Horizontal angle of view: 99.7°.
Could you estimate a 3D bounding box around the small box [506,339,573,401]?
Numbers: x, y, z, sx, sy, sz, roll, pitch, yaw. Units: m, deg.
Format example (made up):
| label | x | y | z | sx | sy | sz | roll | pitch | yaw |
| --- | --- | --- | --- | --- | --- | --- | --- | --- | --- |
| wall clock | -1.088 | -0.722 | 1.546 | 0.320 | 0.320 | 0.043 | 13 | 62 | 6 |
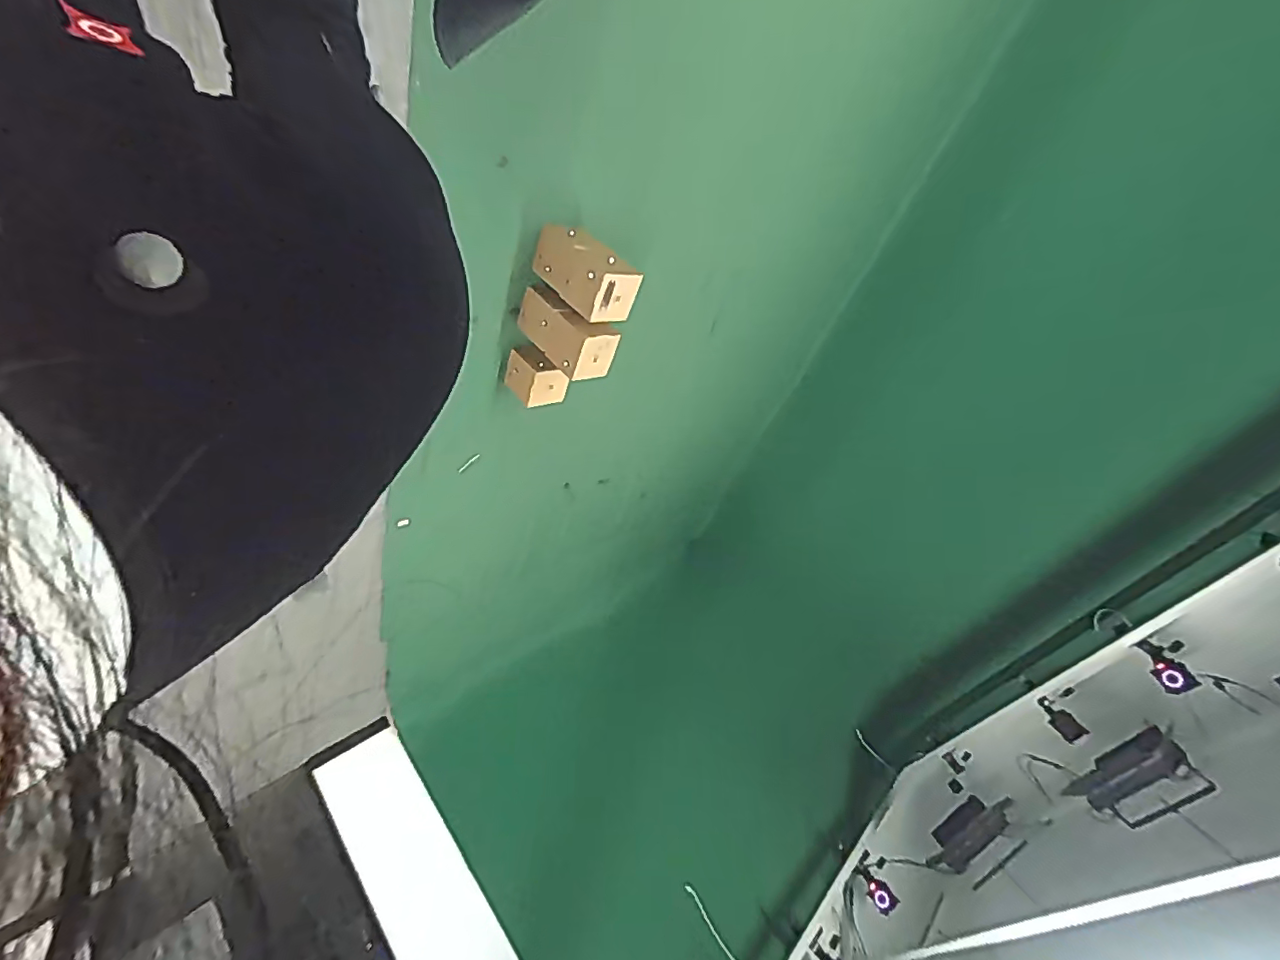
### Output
| label | x | y | z | sx | sy | sz | roll | pitch | yaw |
| --- | --- | --- | --- | --- | --- | --- | --- | --- | --- |
| small box | -0.395 | -0.434 | 2.110 | 0.179 | 0.176 | 0.168 | -20 | 147 | -42 |
